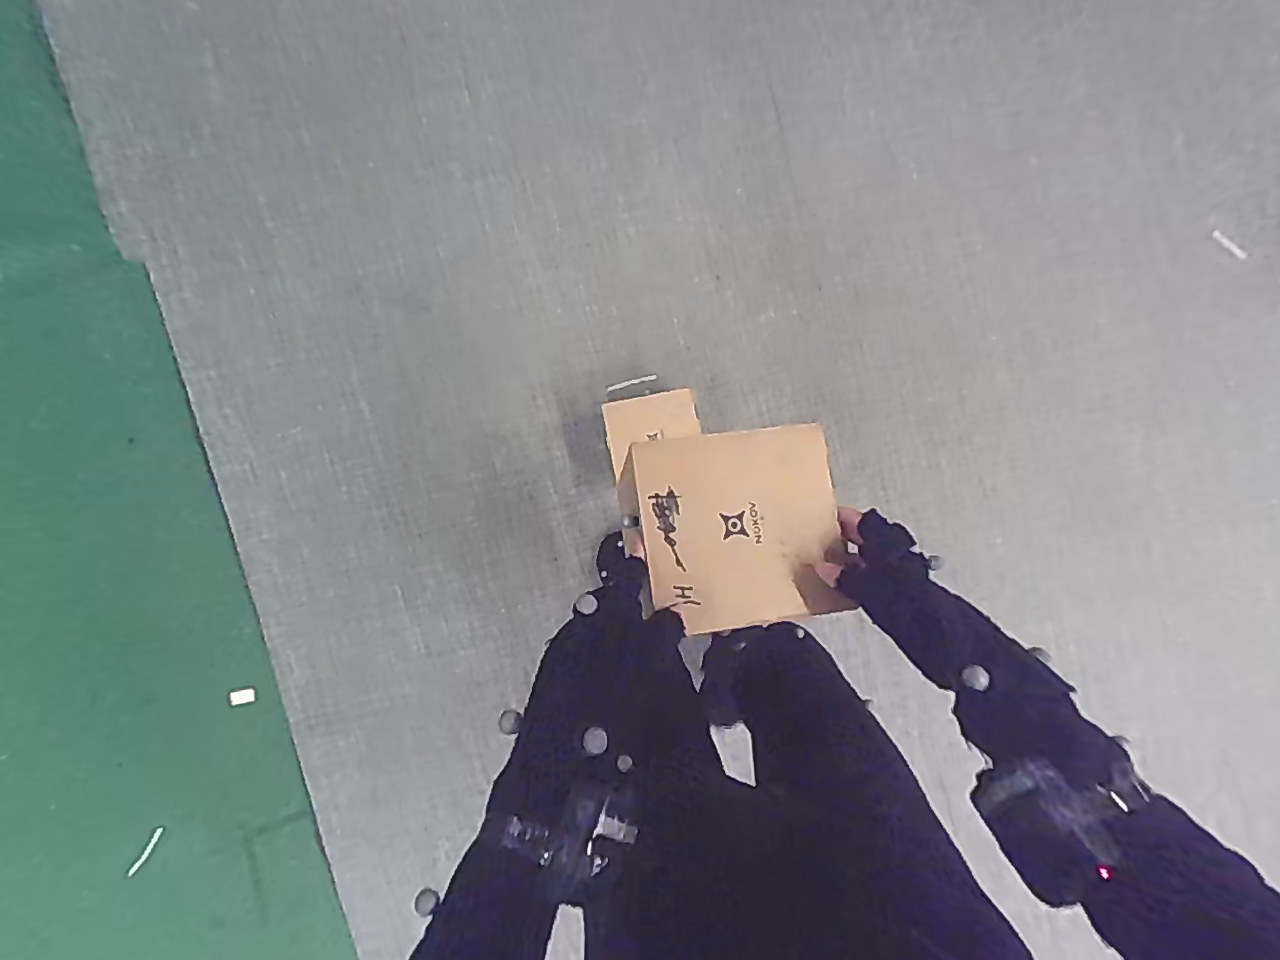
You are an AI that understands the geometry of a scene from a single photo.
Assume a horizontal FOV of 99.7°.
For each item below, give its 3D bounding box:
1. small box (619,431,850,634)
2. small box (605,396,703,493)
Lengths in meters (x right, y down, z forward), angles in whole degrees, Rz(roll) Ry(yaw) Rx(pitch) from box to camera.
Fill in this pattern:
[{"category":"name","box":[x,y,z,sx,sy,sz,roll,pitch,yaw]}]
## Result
[{"category":"small box","box":[0.079,0.057,0.547,0.179,0.176,0.168,-6,78,-8]},{"category":"small box","box":[0.029,-0.066,1.090,0.179,0.176,0.168,-12,91,-2]}]
